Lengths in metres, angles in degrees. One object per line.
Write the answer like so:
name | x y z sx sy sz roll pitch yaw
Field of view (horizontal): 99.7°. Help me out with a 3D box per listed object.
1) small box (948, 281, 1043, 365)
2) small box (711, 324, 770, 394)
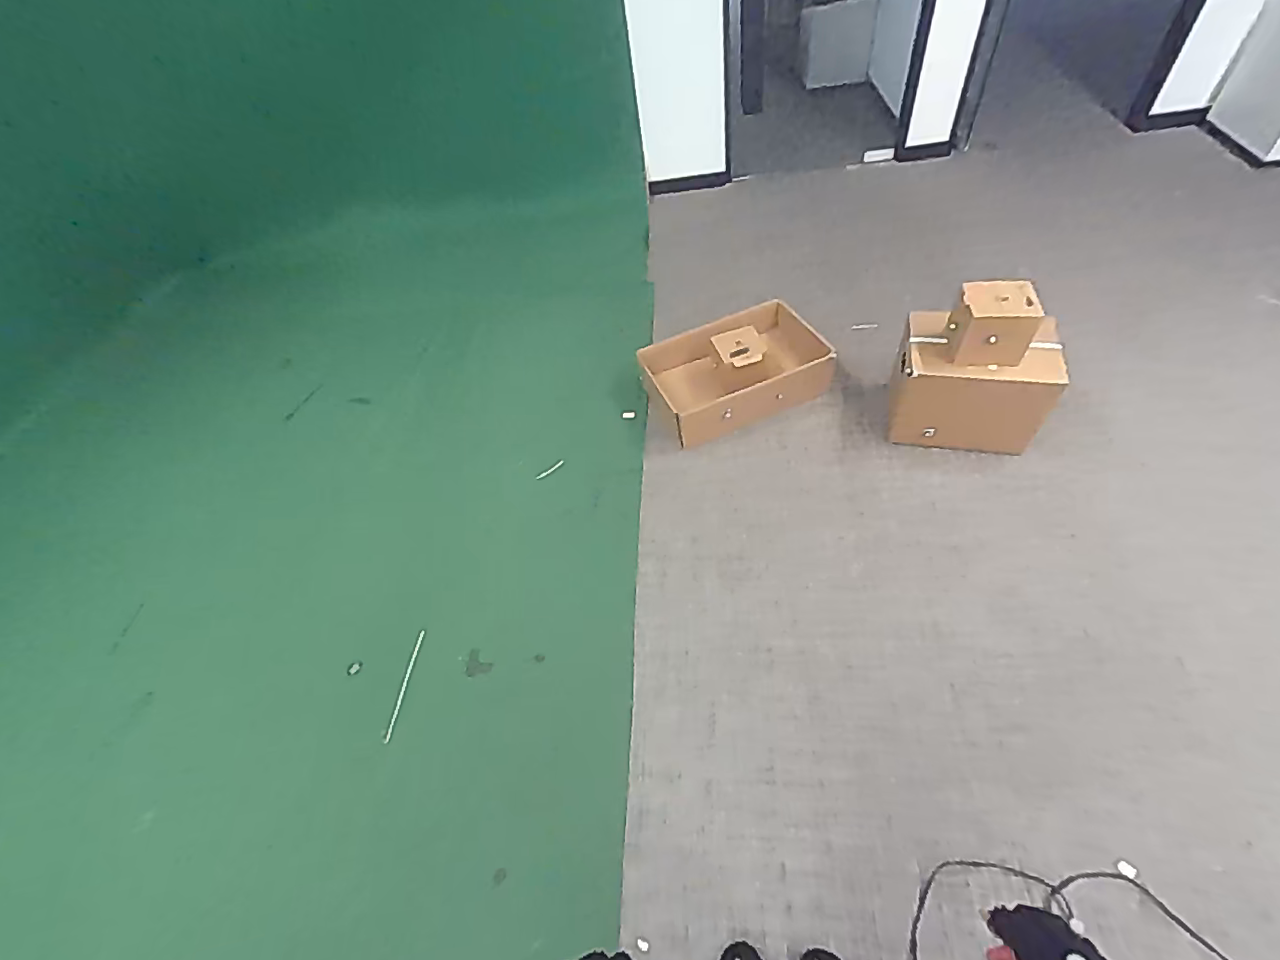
small box | 1.003 -0.446 1.545 0.179 0.176 0.168 3 53 13
small box | 0.371 -0.438 1.991 0.168 0.176 0.179 -16 49 -1
